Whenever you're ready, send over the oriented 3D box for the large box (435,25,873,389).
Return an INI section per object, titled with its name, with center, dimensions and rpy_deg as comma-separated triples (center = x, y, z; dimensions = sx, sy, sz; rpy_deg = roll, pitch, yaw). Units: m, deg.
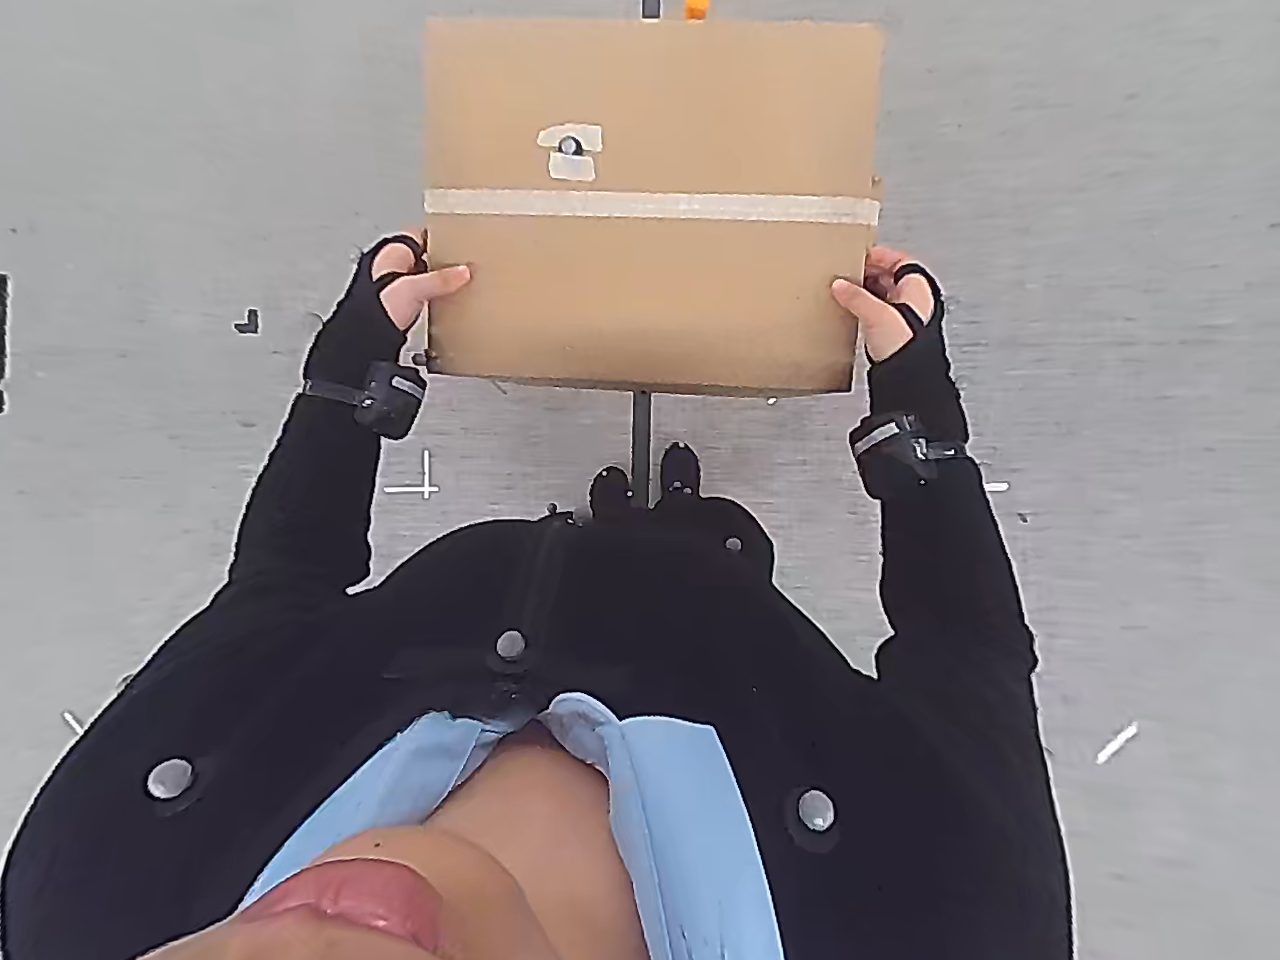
[large box]
center = 0.016, -0.271, 0.651
dimensions = 0.408, 0.320, 0.320
rpy_deg = 3, 97, 4
